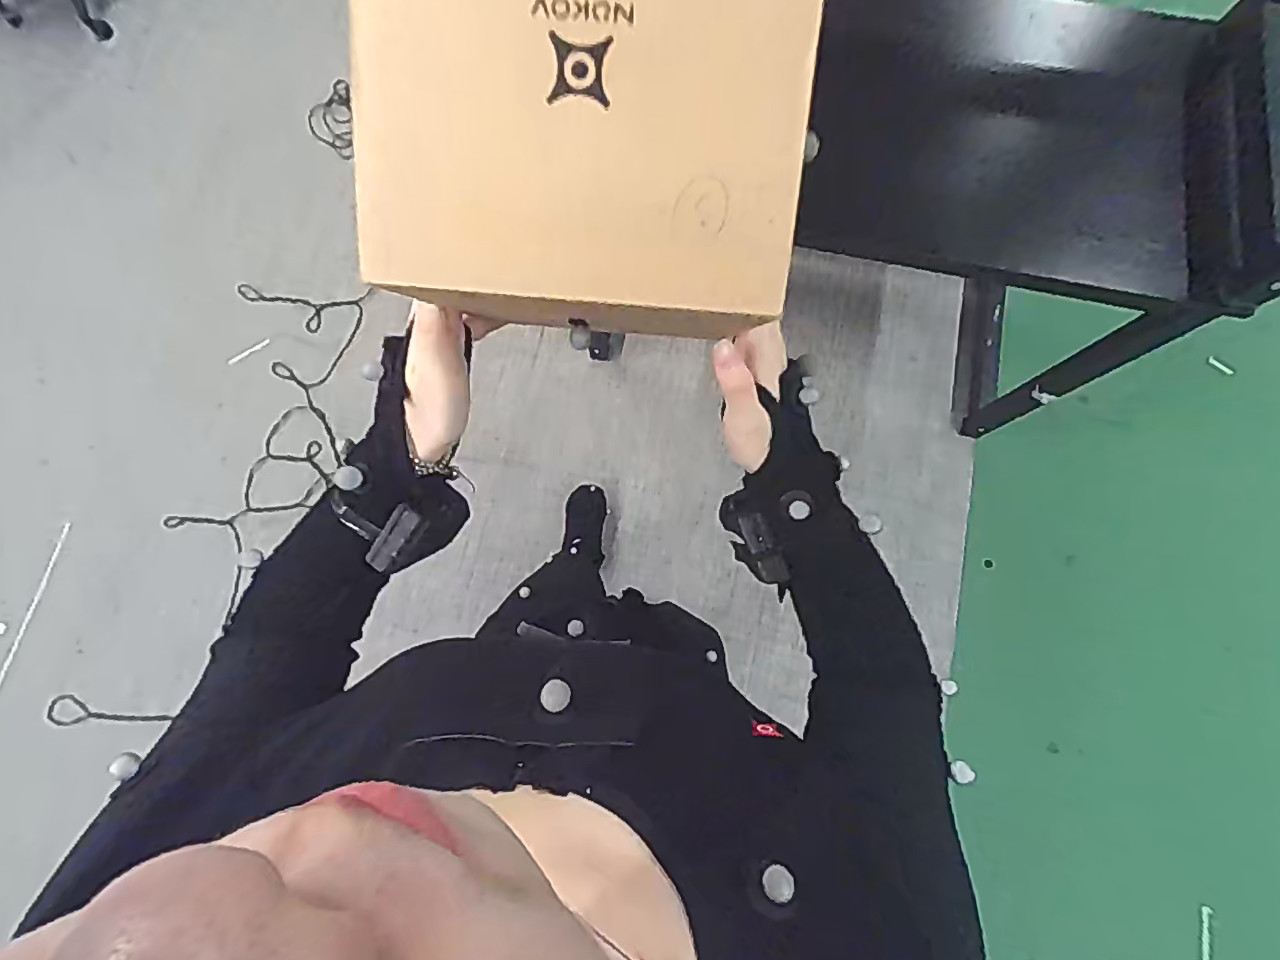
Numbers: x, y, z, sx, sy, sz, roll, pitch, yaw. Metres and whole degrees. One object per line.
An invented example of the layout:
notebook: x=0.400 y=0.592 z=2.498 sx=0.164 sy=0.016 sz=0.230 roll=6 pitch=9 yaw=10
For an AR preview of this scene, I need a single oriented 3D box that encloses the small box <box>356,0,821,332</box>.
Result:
small box: x=-0.019 y=-0.172 z=0.272 sx=0.168 sy=0.176 sz=0.179 roll=4 pitch=102 yaw=-1
